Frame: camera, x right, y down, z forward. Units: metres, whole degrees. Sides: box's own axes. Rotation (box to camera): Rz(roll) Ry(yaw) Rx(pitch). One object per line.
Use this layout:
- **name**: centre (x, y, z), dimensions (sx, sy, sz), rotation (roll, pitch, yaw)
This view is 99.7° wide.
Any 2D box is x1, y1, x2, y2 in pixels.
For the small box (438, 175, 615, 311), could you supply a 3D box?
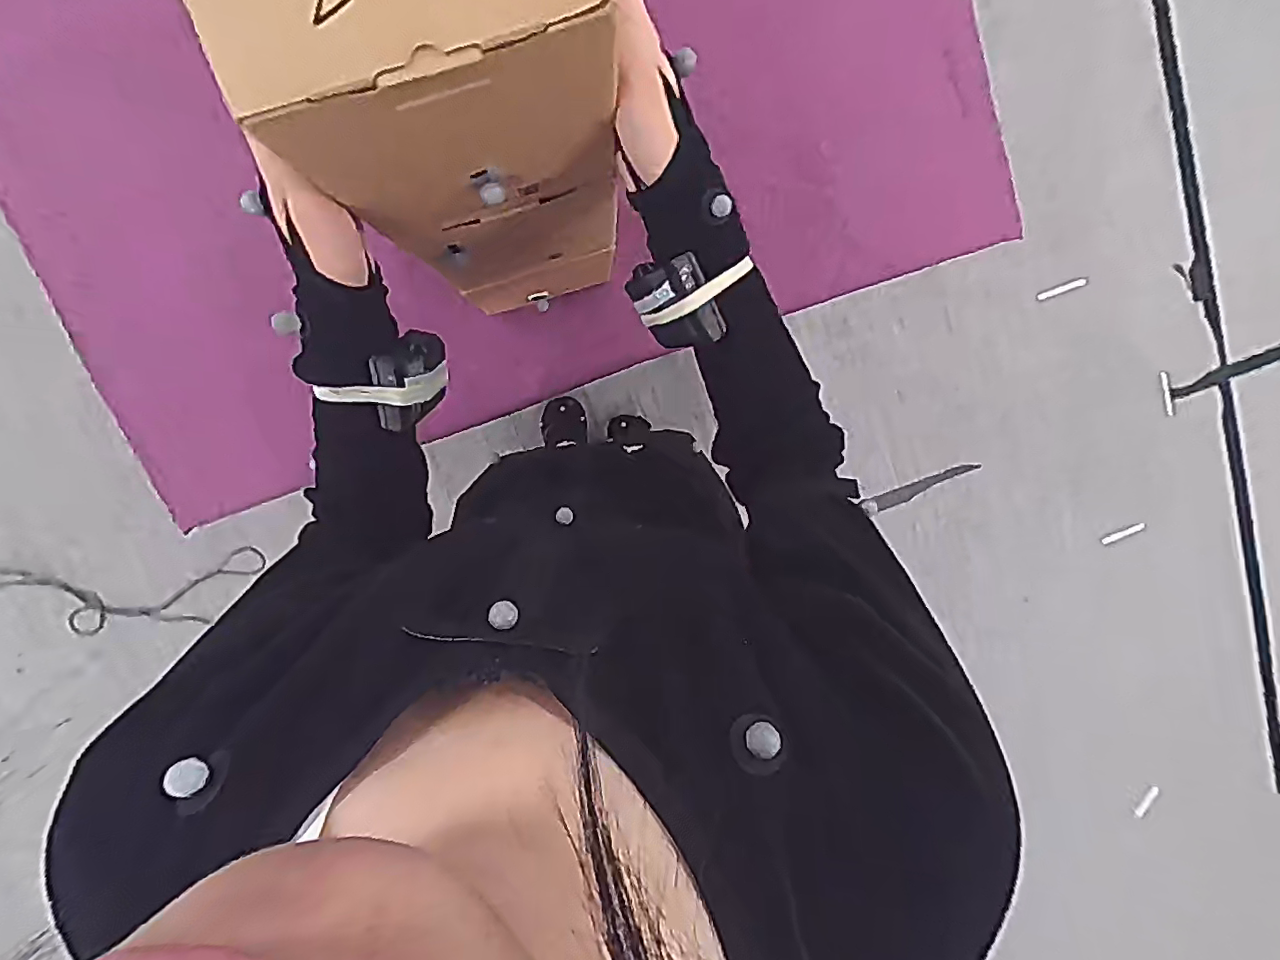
- **small box**: centre (-0.135, -0.309, 0.612), dimensions (0.168, 0.176, 0.179), rotation (-18, 101, -2)

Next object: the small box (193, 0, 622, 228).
- **small box**: centre (-0.115, -0.265, 0.285), dimensions (0.168, 0.176, 0.179), rotation (-17, 99, -1)
